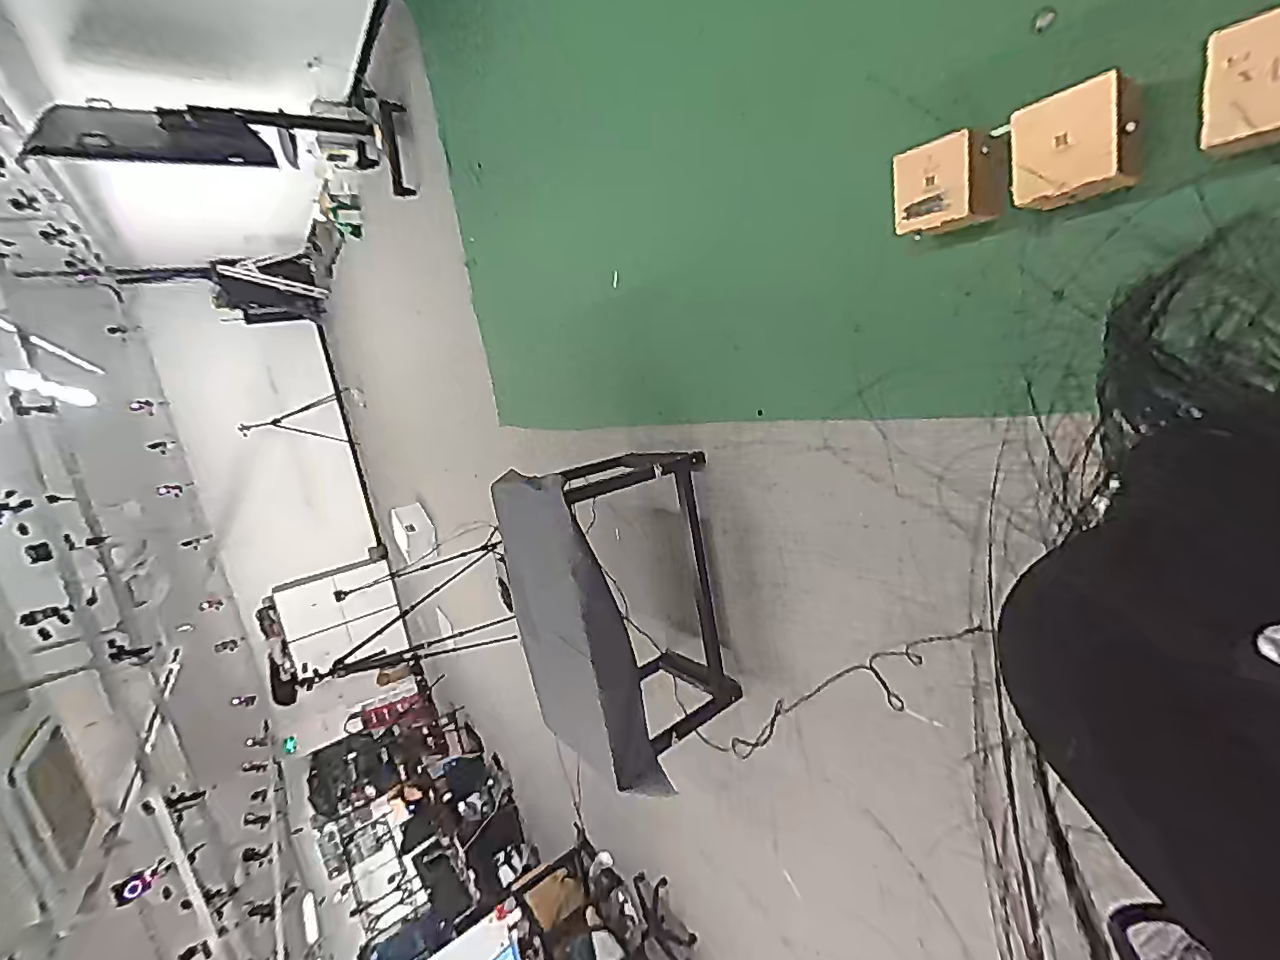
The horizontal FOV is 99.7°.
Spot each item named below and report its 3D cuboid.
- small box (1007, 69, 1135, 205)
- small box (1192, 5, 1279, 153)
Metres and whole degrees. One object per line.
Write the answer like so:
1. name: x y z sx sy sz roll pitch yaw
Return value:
1. small box: 0.860 -0.668 1.080 0.168 0.176 0.179 4 109 53
2. small box: 1.023 -0.646 0.860 0.179 0.176 0.168 8 111 52
